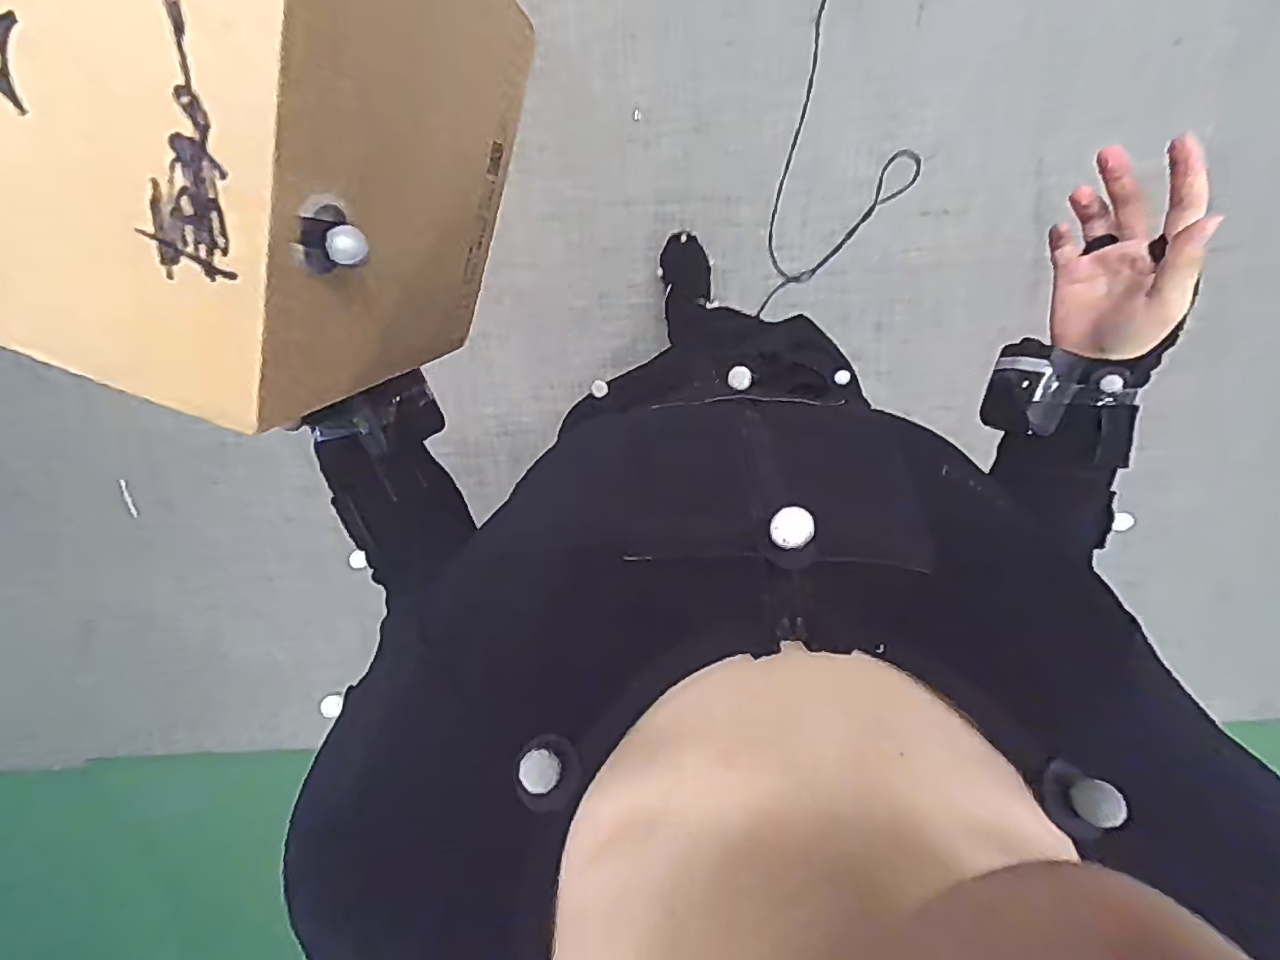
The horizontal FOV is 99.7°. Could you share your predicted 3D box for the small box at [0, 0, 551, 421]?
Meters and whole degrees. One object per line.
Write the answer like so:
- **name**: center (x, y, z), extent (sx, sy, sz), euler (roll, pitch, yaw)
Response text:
- **small box**: center (-0.158, -0.149, 0.221), extent (0.179, 0.176, 0.168), euler (21, 115, -2)
